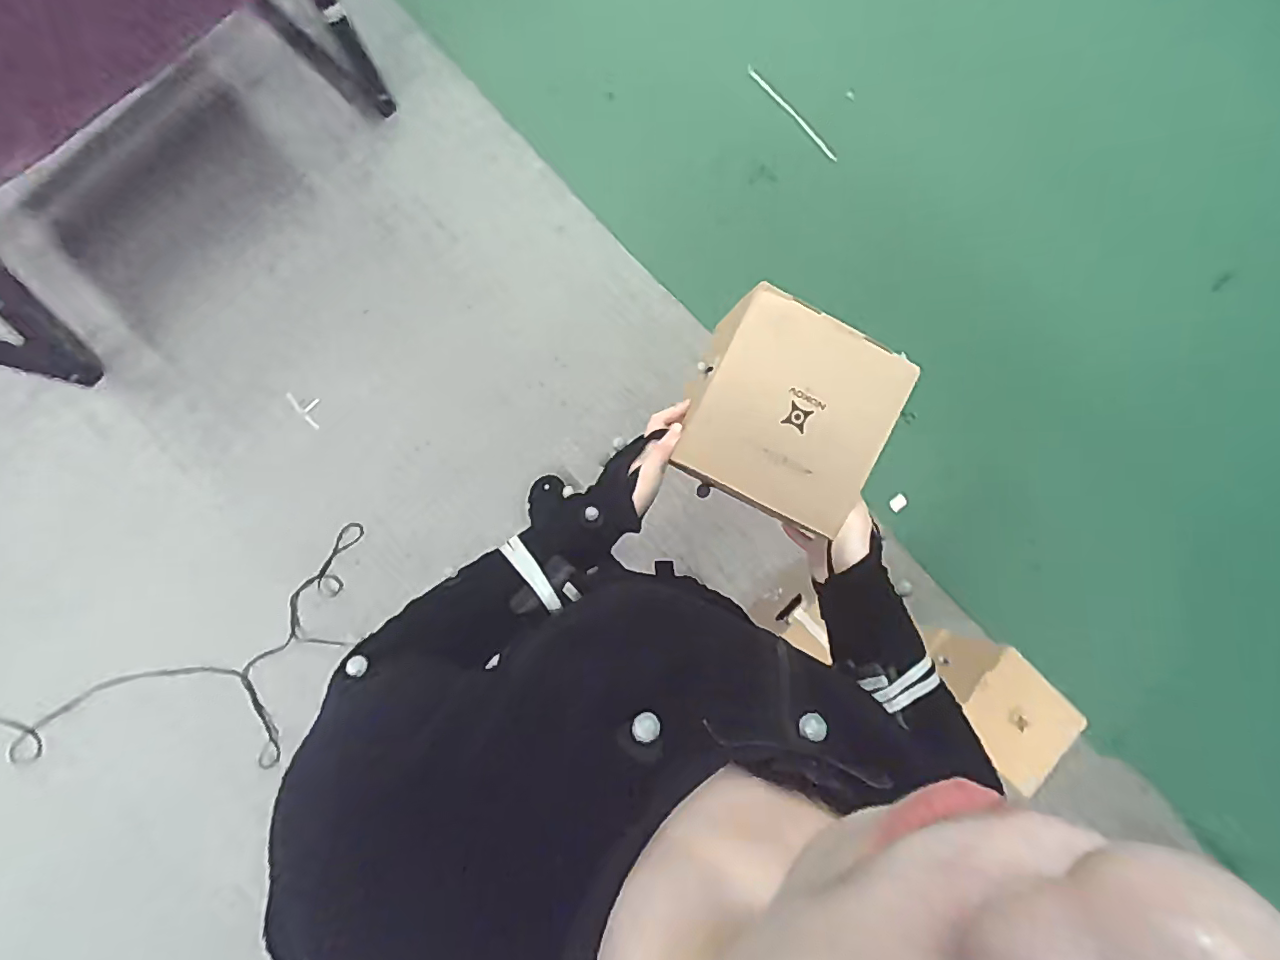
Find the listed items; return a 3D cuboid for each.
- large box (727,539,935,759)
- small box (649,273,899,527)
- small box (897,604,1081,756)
[{"bbox_3d":[0.491,0.392,1.362,0.408,0.320,0.320,42,86,0],"label":"large box"},{"bbox_3d":[0.118,-0.074,0.555,0.168,0.176,0.179,25,92,-6],"label":"small box"},{"bbox_3d":[0.607,0.339,0.962,0.179,0.176,0.168,41,83,2],"label":"small box"}]
